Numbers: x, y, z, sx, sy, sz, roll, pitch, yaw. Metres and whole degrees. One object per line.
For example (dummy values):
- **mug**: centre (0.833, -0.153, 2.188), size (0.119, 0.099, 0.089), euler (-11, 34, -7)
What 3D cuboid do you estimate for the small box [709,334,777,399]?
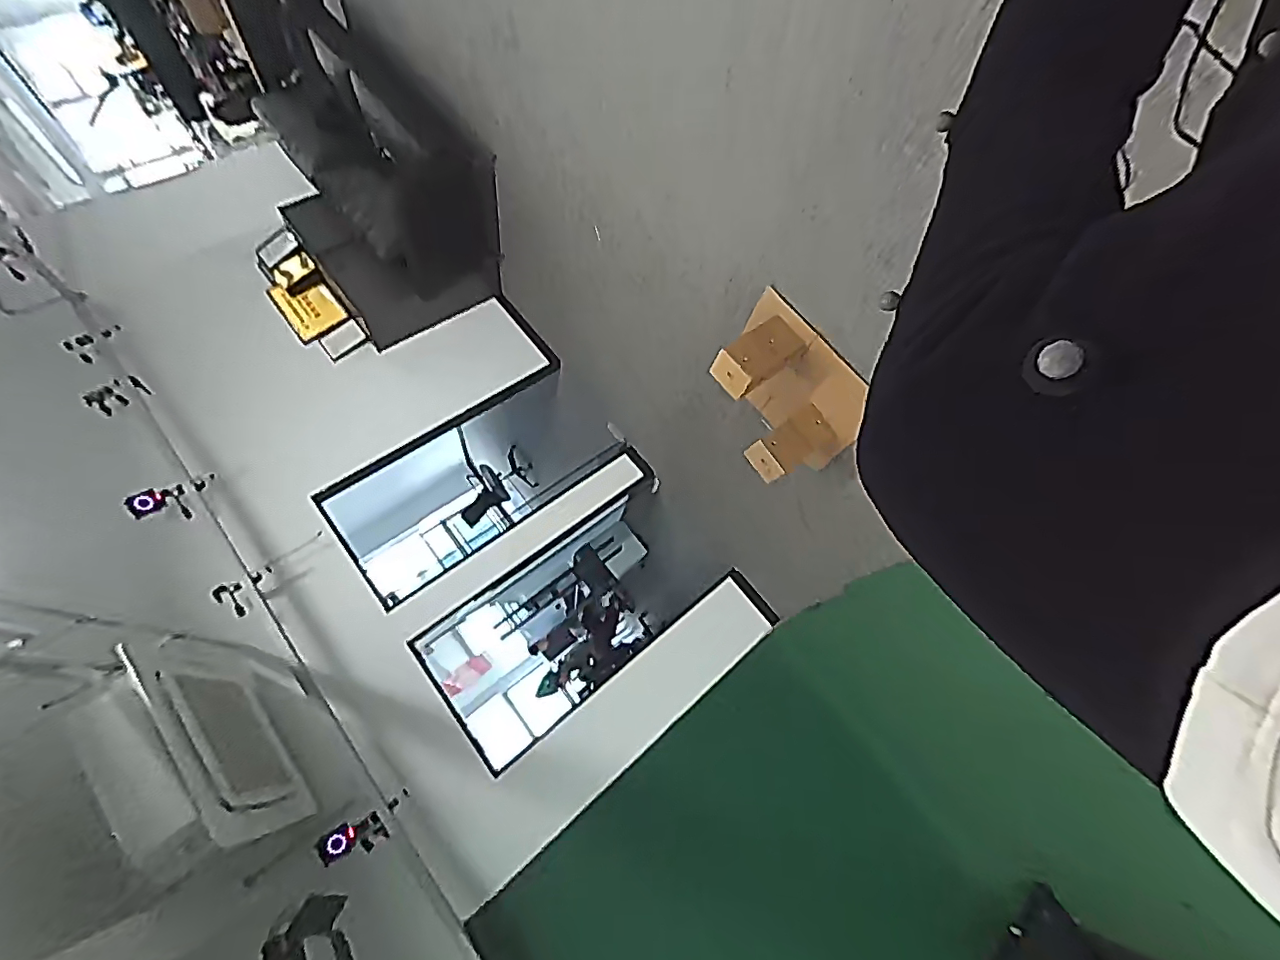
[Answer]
- **small box**: centre (0.415, -0.465, 2.177), size (0.179, 0.176, 0.168), euler (49, 156, 11)

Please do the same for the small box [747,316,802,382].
- **small box**: centre (0.535, -0.549, 2.245), size (0.179, 0.176, 0.168), euler (50, 157, 10)

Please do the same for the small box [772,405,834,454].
- **small box**: centre (0.708, -0.208, 2.378), size (0.179, 0.176, 0.168), euler (53, 158, 4)

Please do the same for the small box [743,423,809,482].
- **small box**: centre (0.582, -0.123, 2.310), size (0.179, 0.176, 0.168), euler (53, 158, 4)
